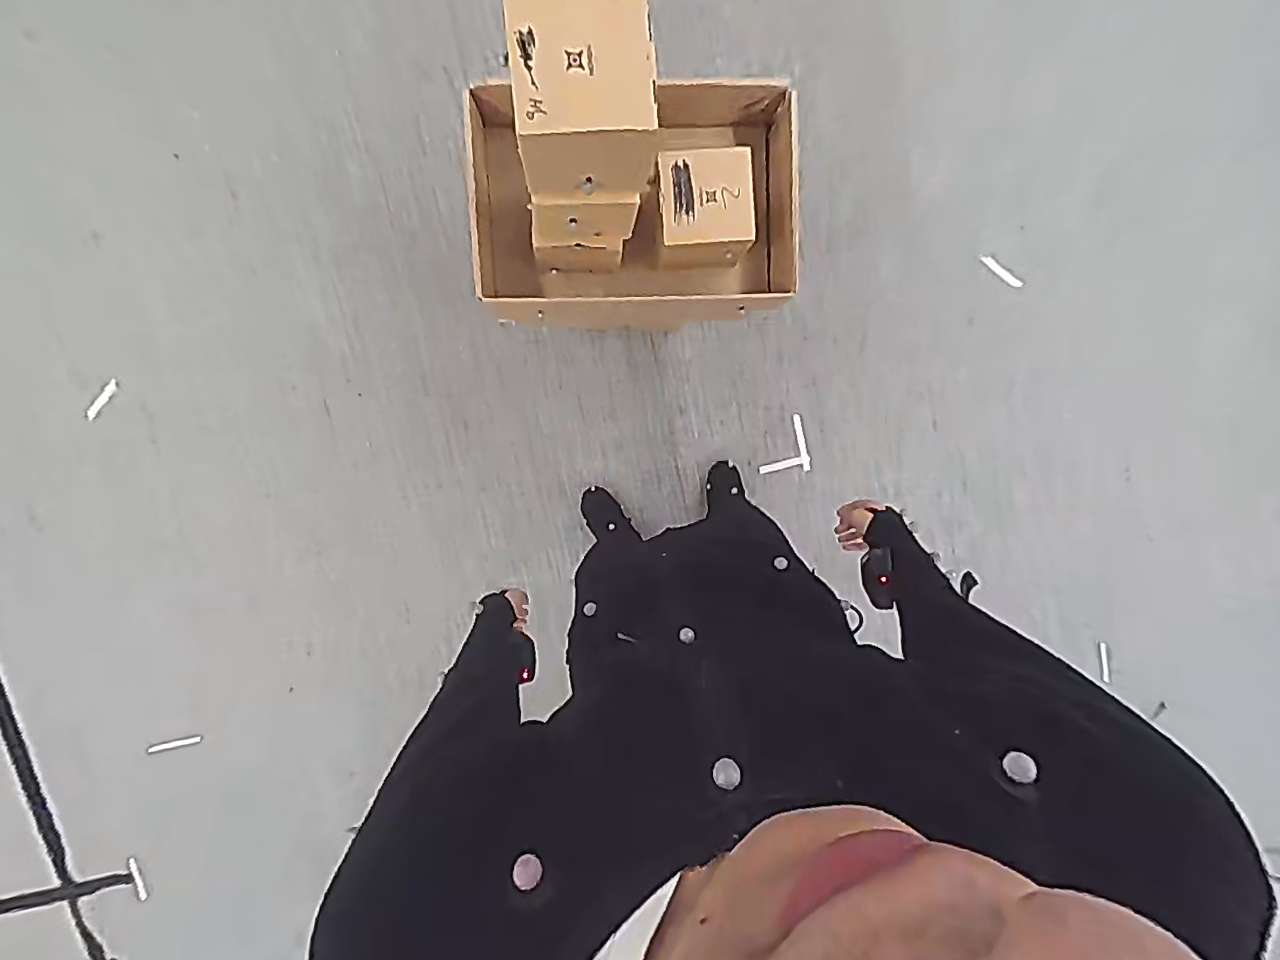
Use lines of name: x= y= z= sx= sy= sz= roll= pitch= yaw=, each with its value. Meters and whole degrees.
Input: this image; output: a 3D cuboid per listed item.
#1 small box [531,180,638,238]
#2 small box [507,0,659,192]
small box: x=-0.093 y=-0.514 z=0.893 sx=0.168 sy=0.176 sz=0.179 roll=-4 pitch=95 yaw=-6
small box: x=-0.077 y=-0.510 z=0.730 sx=0.179 sy=0.176 sz=0.168 roll=-5 pitch=95 yaw=-6
